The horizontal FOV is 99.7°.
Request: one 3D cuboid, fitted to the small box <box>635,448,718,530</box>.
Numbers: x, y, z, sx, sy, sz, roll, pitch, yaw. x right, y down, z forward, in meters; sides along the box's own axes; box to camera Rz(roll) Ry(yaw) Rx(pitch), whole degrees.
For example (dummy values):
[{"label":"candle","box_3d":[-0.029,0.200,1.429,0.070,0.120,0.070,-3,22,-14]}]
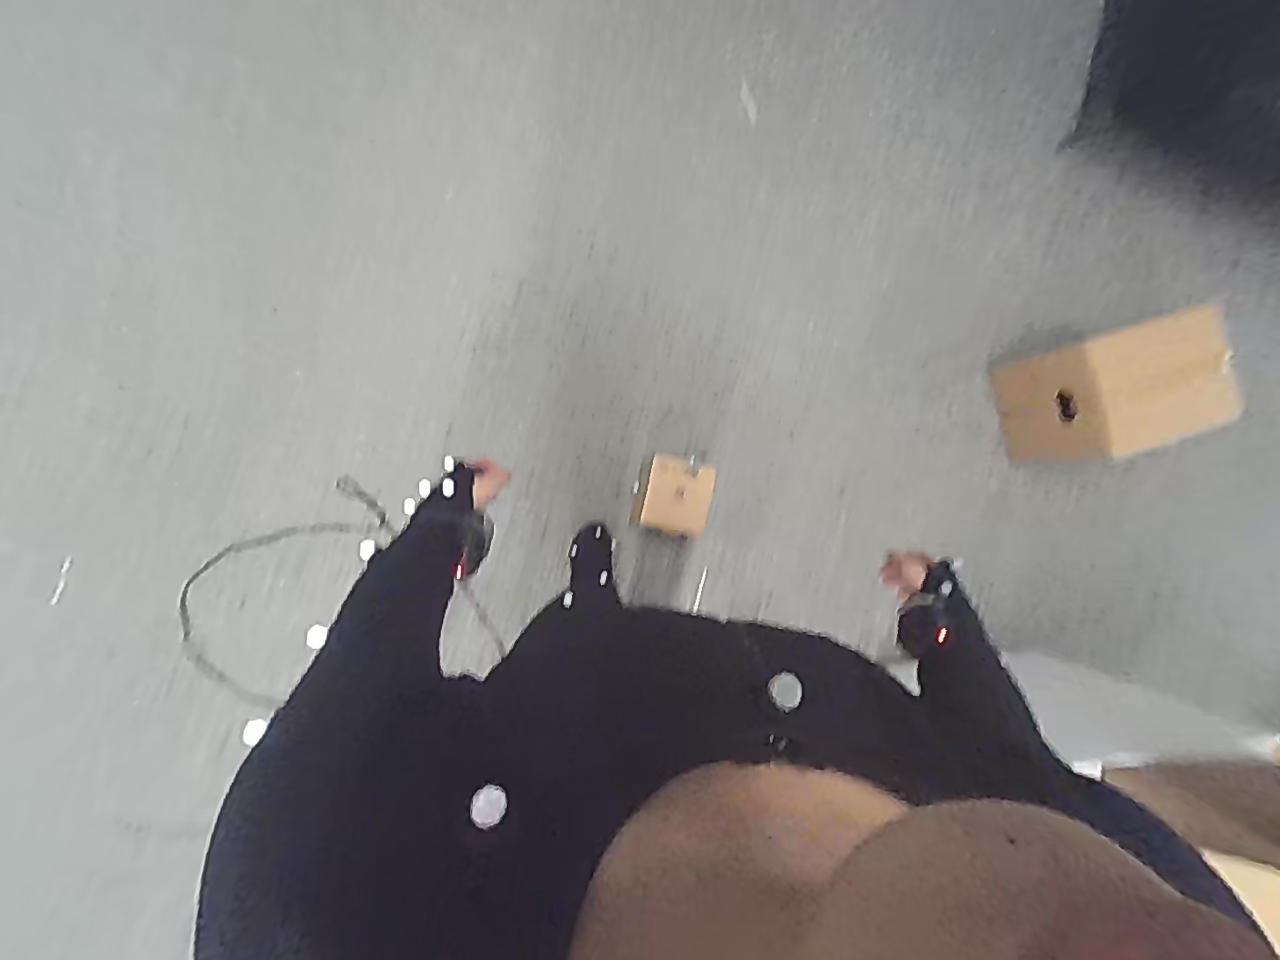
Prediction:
[{"label":"small box","box_3d":[0.087,0.021,1.417,0.168,0.176,0.179,13,89,-8]}]
